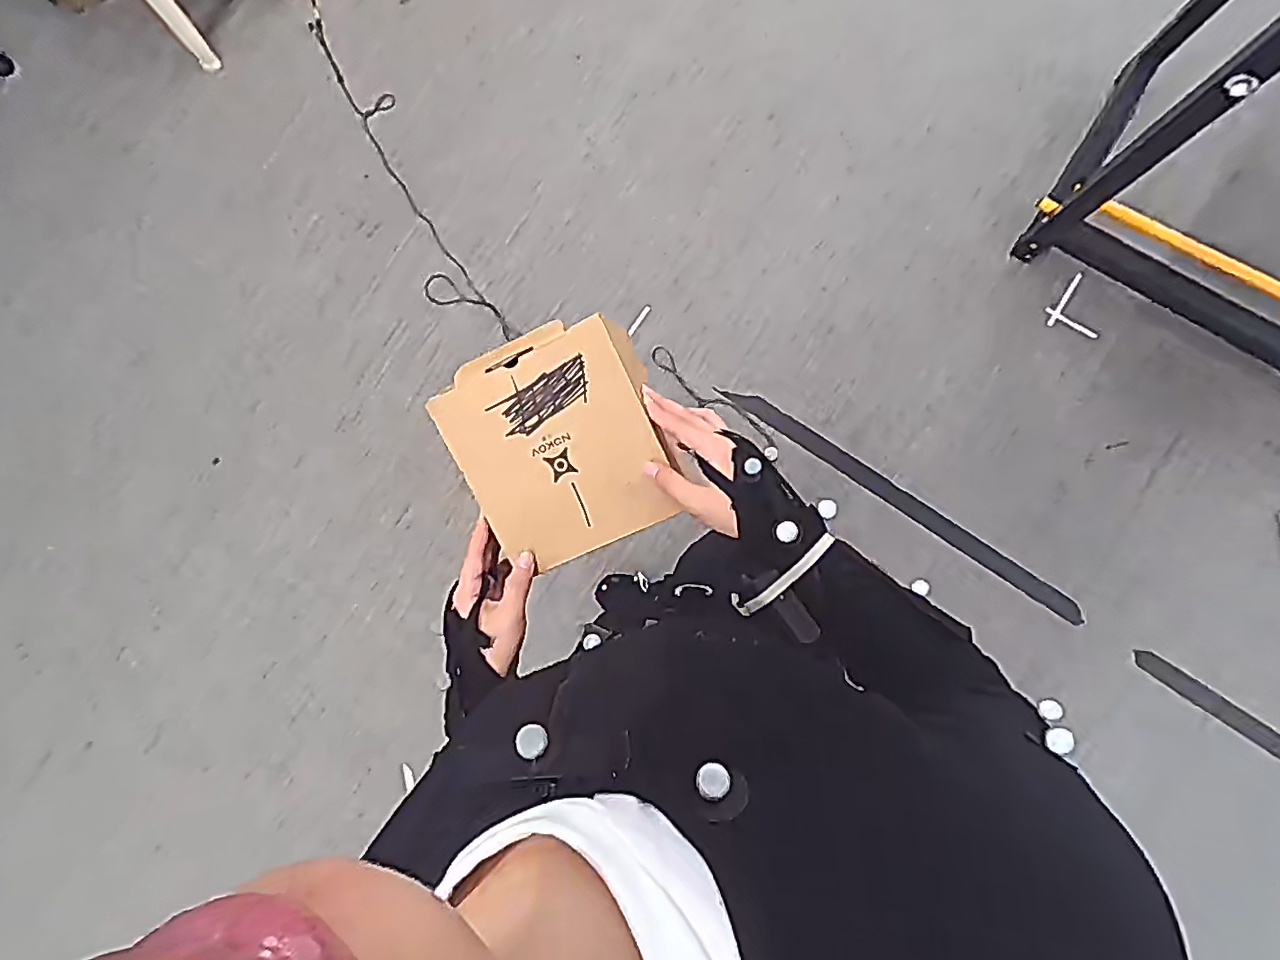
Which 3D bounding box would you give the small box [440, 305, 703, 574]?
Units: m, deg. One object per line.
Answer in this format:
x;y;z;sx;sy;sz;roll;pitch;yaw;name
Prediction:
-0.050;-0.042;0.515;0.168;0.176;0.179;-23;99;9;small box
